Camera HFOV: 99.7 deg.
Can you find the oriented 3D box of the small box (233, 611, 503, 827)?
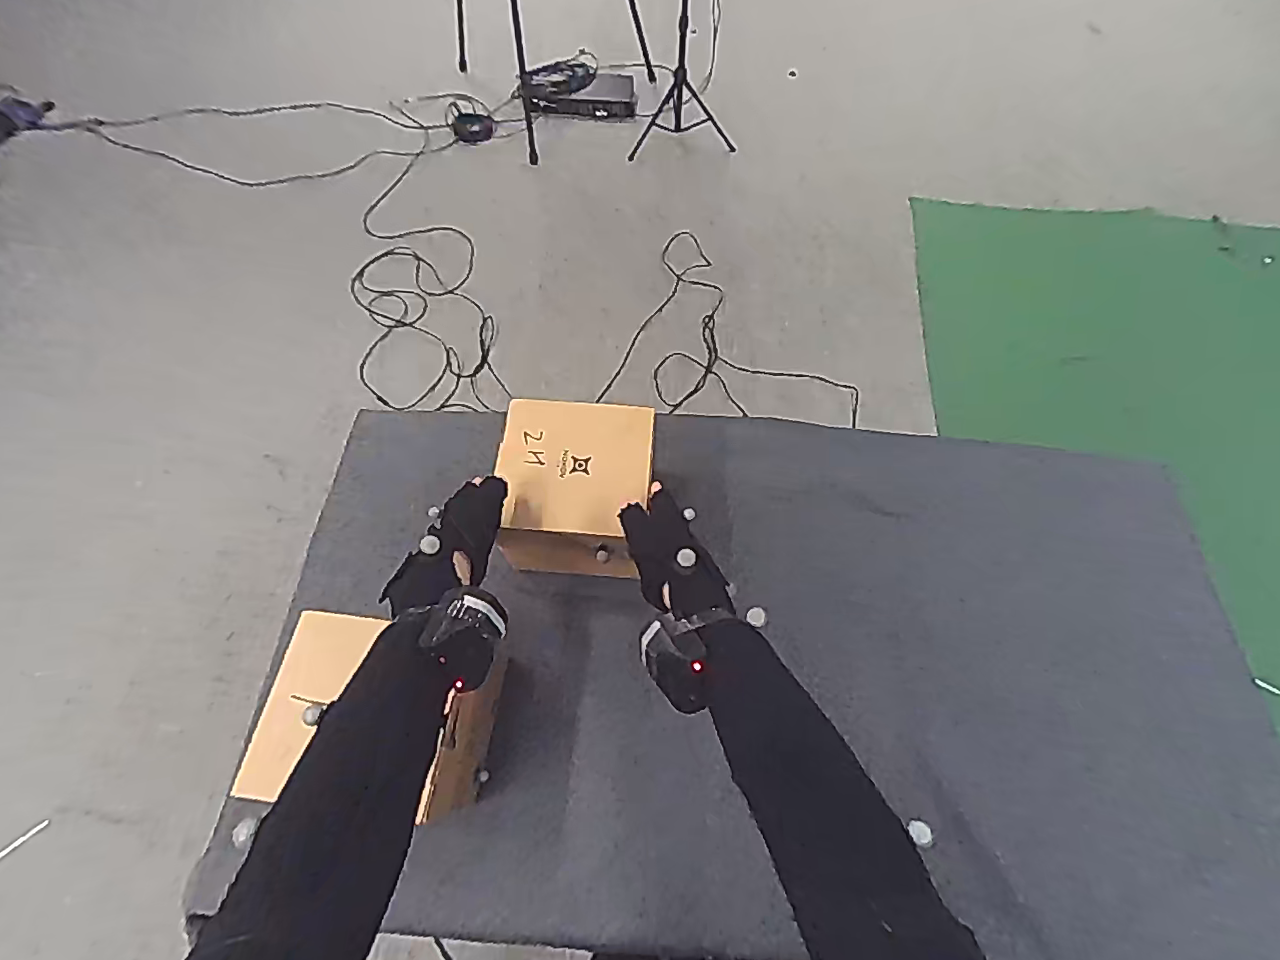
[{"bbox_3d":[-0.260,0.248,0.572,0.179,0.176,0.168,7,64,3],"label":"small box"}]

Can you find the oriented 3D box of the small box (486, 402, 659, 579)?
[{"bbox_3d":[-0.072,0.021,0.682,0.179,0.176,0.168,5,65,2],"label":"small box"}]
